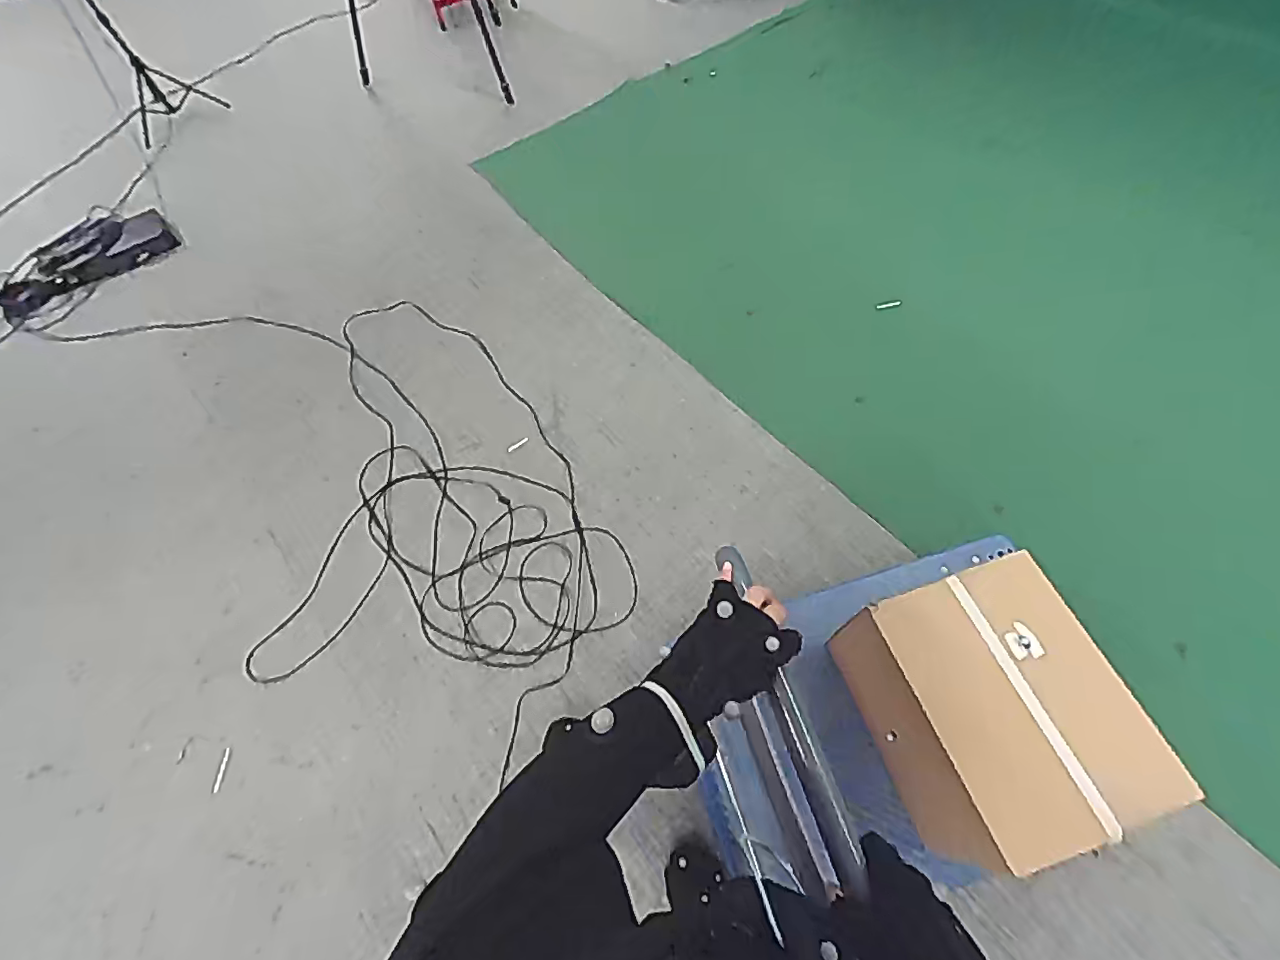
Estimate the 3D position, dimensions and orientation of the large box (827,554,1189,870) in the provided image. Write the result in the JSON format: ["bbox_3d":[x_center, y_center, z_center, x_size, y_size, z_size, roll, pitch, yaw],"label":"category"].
[{"bbox_3d":[0.606,0.412,0.993,0.320,0.320,0.408,-18,61,-6],"label":"large box"}]
